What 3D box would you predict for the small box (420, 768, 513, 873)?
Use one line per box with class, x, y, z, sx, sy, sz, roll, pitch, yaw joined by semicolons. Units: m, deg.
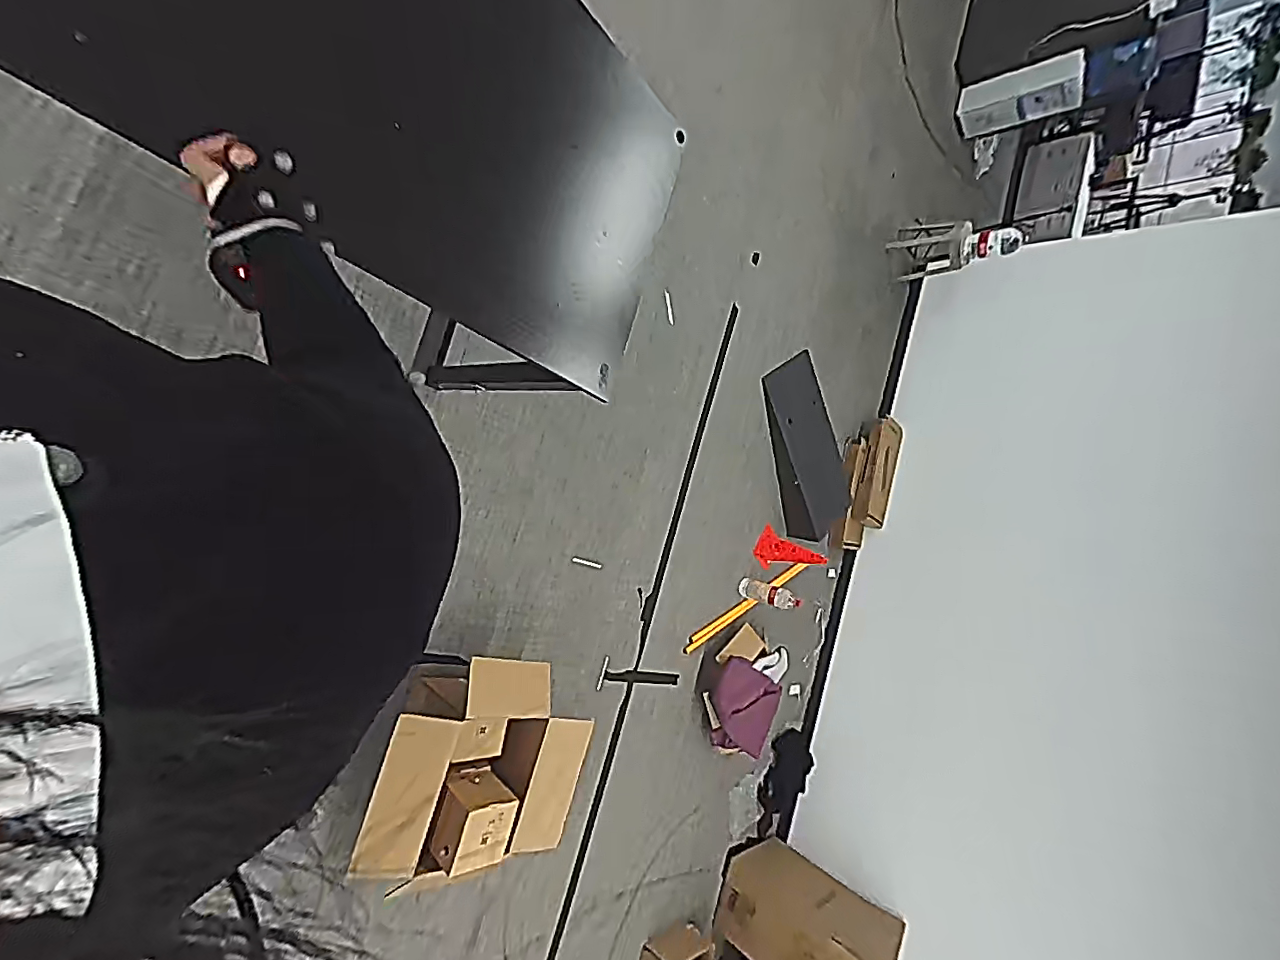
small box;-0.491;0.944;1.516;0.168;0.176;0.179;21;83;-47
